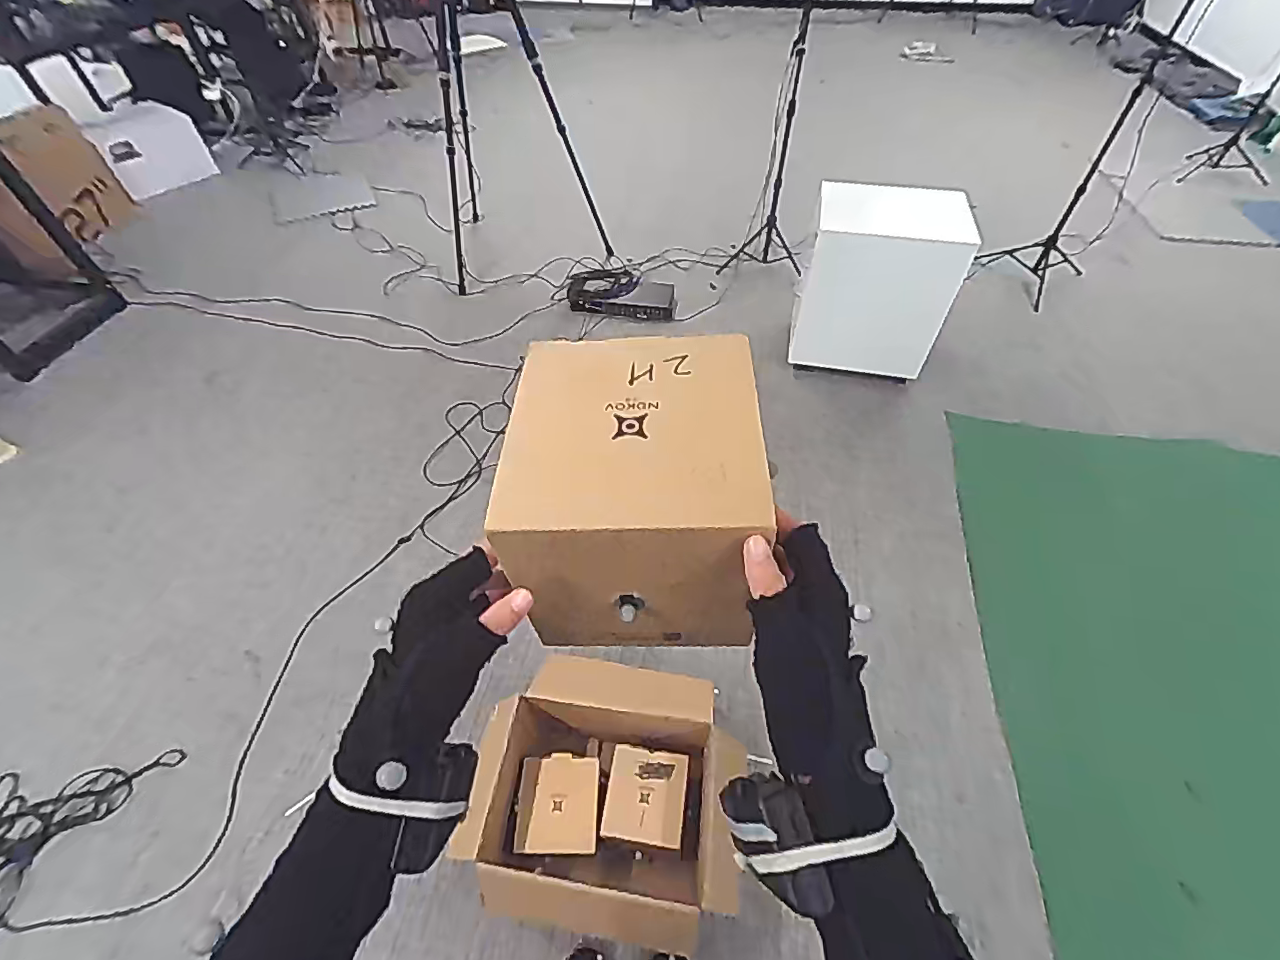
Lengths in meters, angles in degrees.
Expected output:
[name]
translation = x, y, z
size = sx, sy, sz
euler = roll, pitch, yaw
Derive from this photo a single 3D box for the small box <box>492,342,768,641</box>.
[small box]
translation = 0.001, 0.015, 0.423
size = 0.168, 0.176, 0.179
euler = -1, 50, 3
